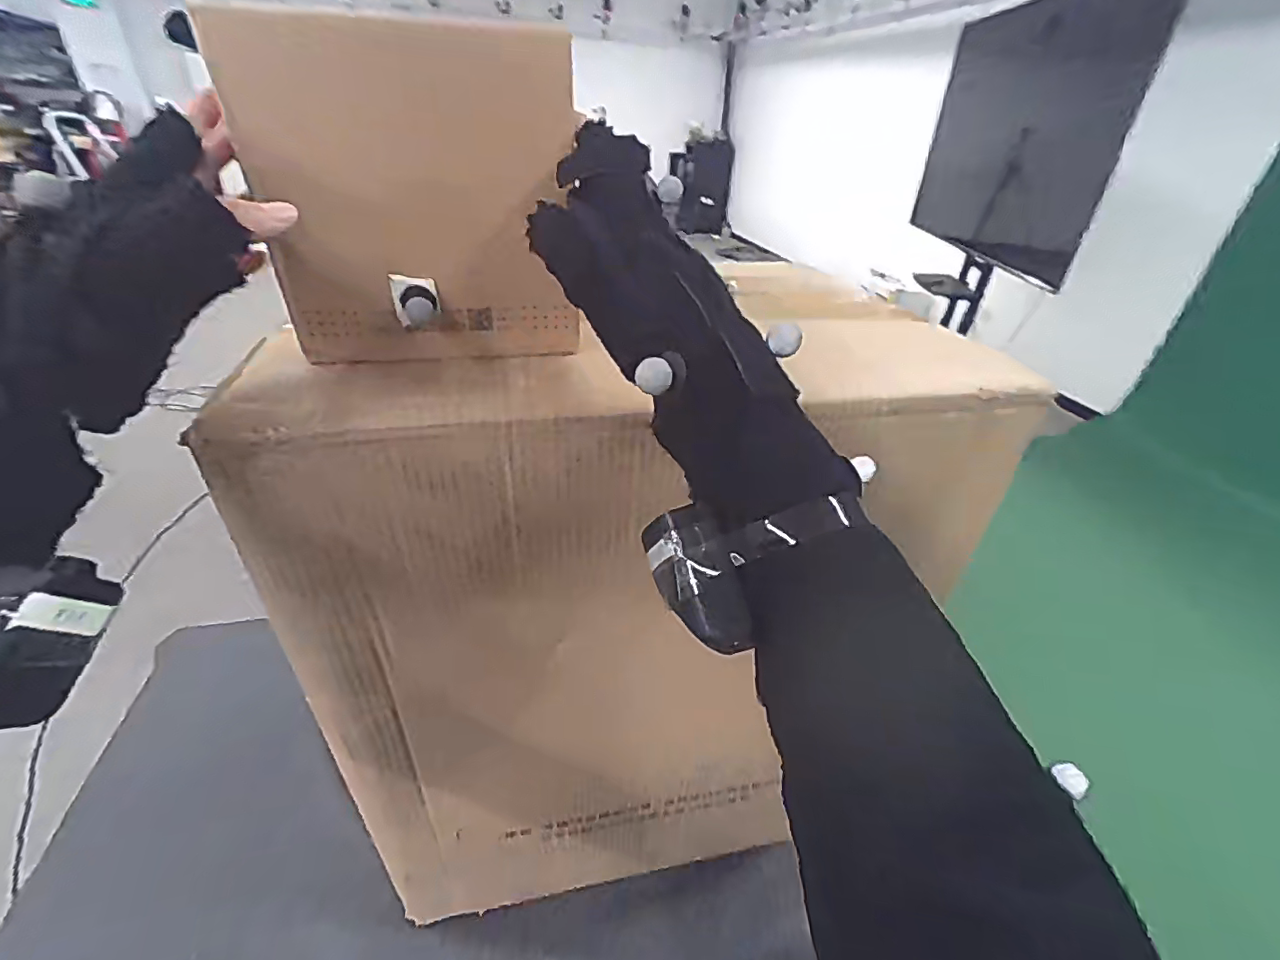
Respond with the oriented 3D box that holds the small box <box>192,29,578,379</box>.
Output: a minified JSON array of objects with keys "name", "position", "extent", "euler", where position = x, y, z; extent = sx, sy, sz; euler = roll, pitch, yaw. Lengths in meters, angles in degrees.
[{"name":"small box","position":[-0.137,-0.182,0.361],"extent":[0.168,0.176,0.179],"euler":[-8,38,-12]}]
